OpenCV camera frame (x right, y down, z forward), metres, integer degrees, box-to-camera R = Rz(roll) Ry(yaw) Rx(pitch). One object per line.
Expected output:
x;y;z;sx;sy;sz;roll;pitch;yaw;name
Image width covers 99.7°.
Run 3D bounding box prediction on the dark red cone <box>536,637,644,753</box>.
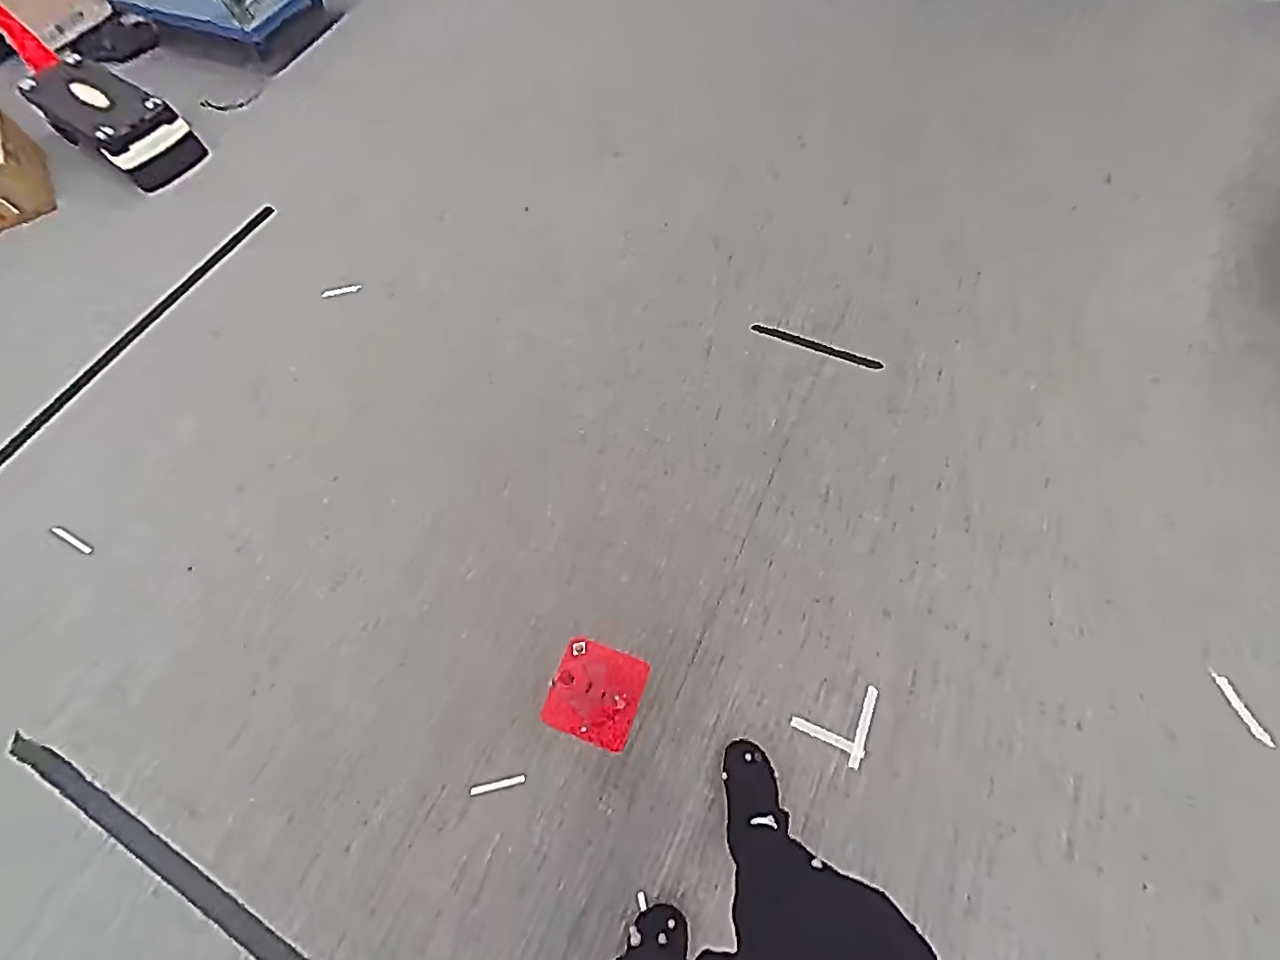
-0.115;0.399;1.034;0.202;0.394;0.201;16;68;11;dark red cone
